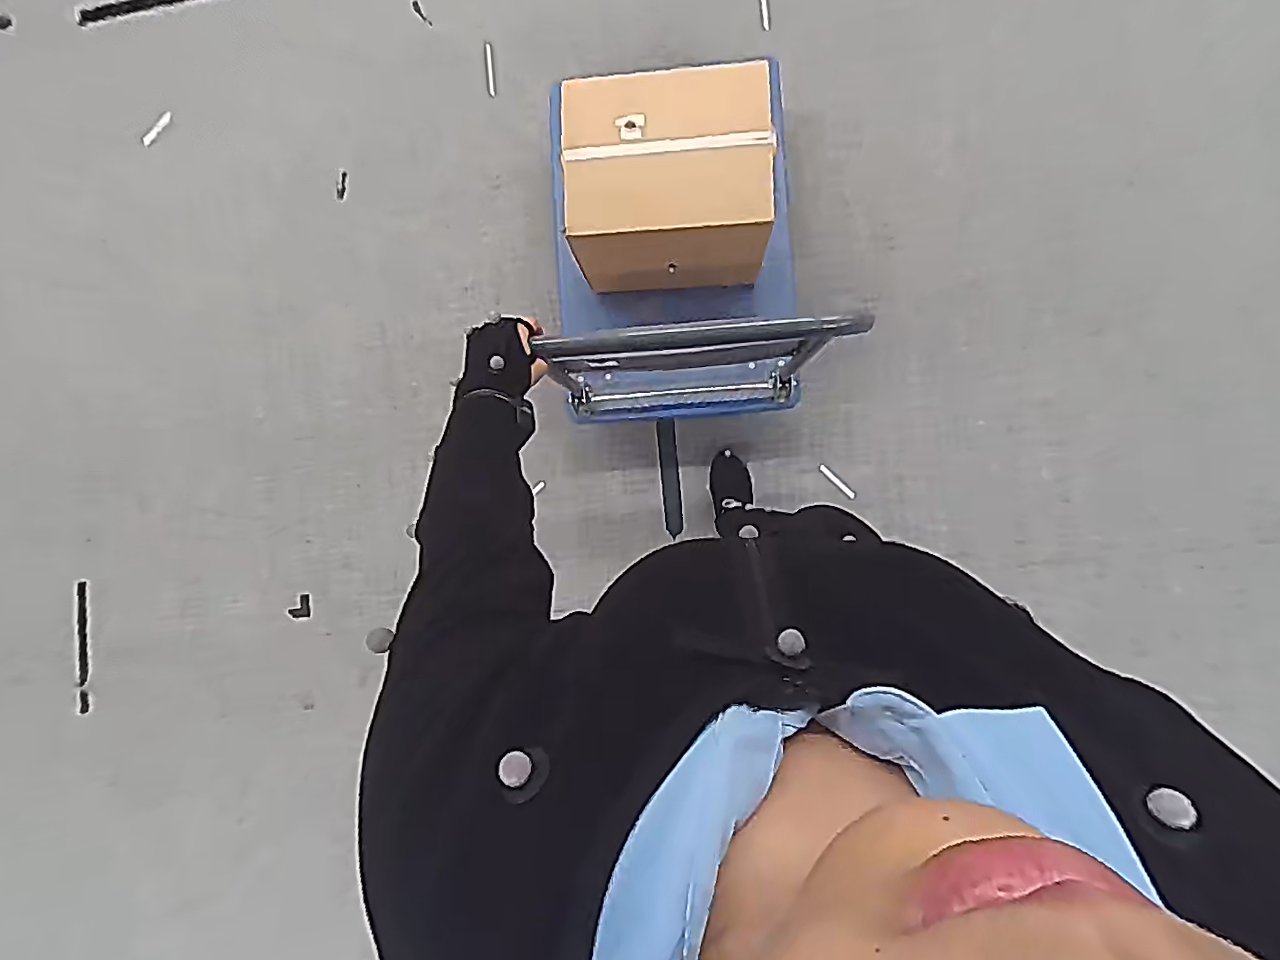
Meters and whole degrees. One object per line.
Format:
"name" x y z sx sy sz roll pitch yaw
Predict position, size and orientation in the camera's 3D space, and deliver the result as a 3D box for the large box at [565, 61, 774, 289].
"large box" 0.070 -0.640 1.200 0.408 0.320 0.320 -2 87 6
